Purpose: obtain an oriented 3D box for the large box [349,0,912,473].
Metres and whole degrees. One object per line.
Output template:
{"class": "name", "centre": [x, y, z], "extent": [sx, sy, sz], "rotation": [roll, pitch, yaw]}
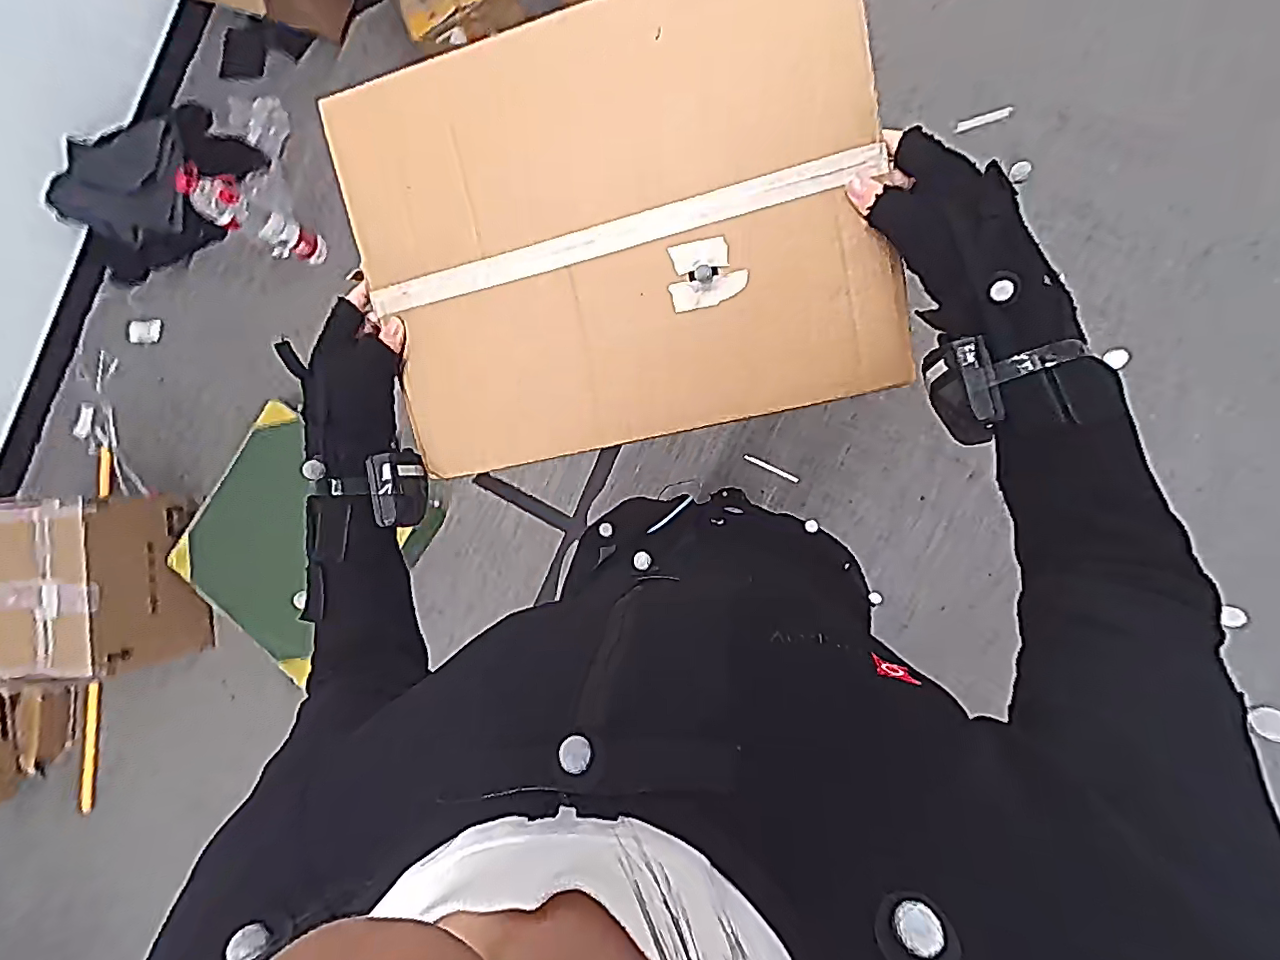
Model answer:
{"class": "large box", "centre": [0.005, -0.218, 0.569], "extent": [0.408, 0.320, 0.320], "rotation": [-11, 100, 11]}
